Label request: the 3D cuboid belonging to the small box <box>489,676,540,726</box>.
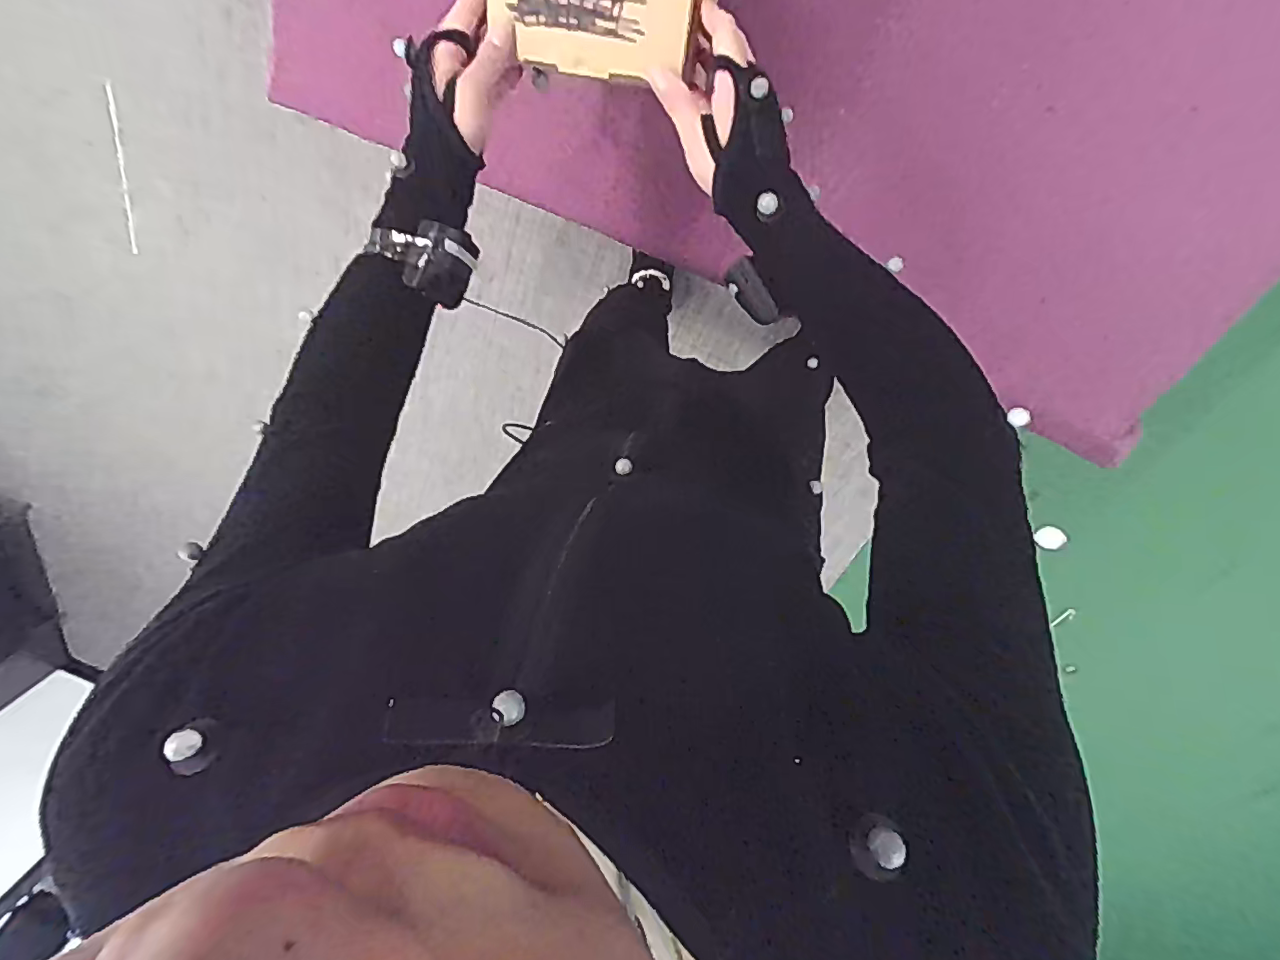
[{"bbox_3d":[-0.534,0.934,2.376,0.168,0.176,0.179,27,124,-2],"label":"small box"}]
